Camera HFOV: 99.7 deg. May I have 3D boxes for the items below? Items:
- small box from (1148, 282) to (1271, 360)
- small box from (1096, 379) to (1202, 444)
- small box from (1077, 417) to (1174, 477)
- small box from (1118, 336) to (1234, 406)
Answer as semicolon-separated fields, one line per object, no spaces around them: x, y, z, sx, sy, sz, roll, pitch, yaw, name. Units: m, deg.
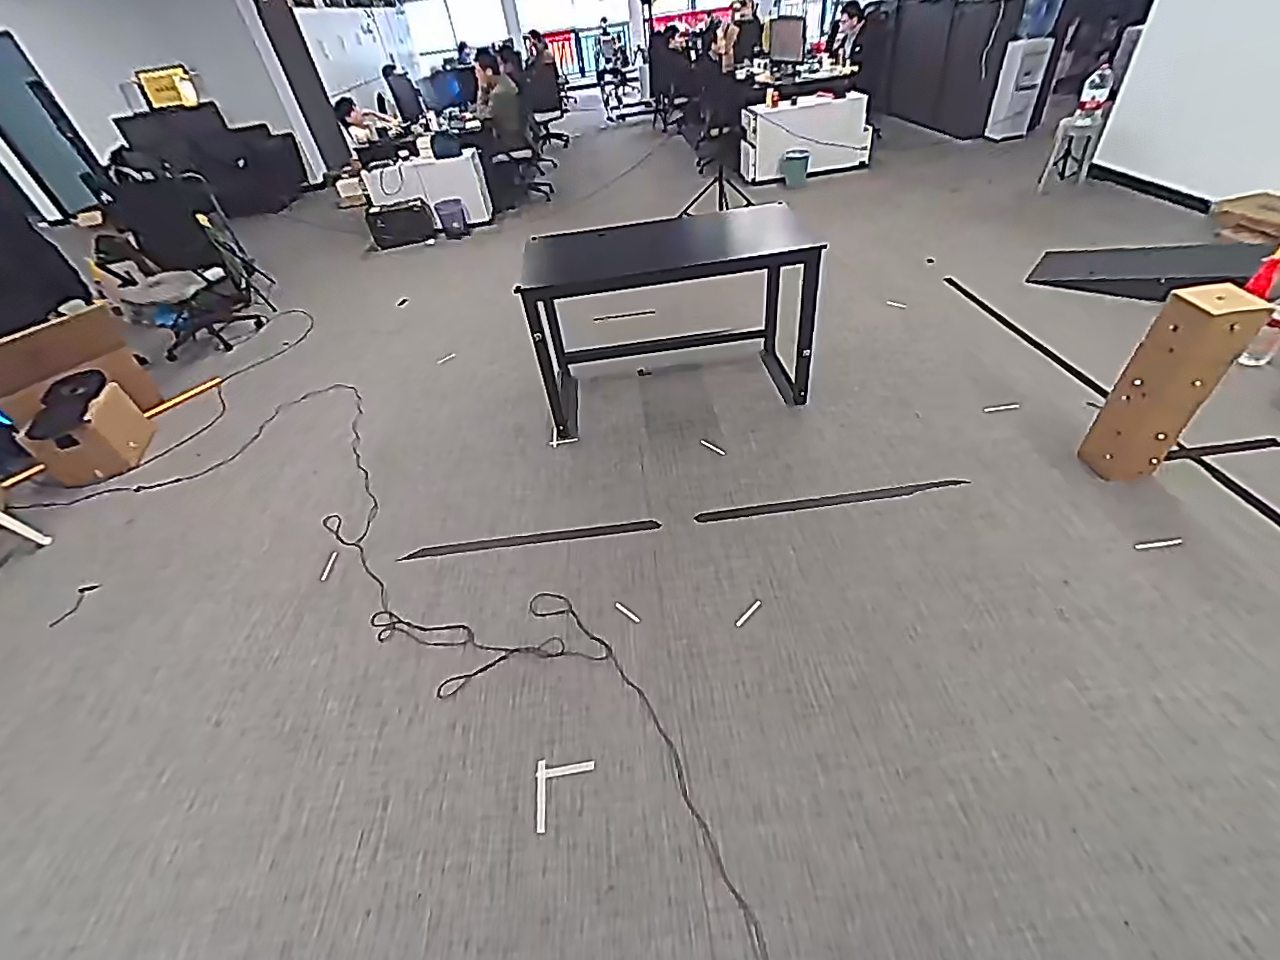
1.713;-0.481;1.648;0.179;0.176;0.168;-6;43;3;small box
1.751;-0.245;1.874;0.179;0.176;0.168;-9;42;-1;small box
1.772;-0.126;1.985;0.168;0.176;0.179;-8;41;1;small box
1.731;-0.363;1.761;0.179;0.176;0.168;-10;42;0;small box
